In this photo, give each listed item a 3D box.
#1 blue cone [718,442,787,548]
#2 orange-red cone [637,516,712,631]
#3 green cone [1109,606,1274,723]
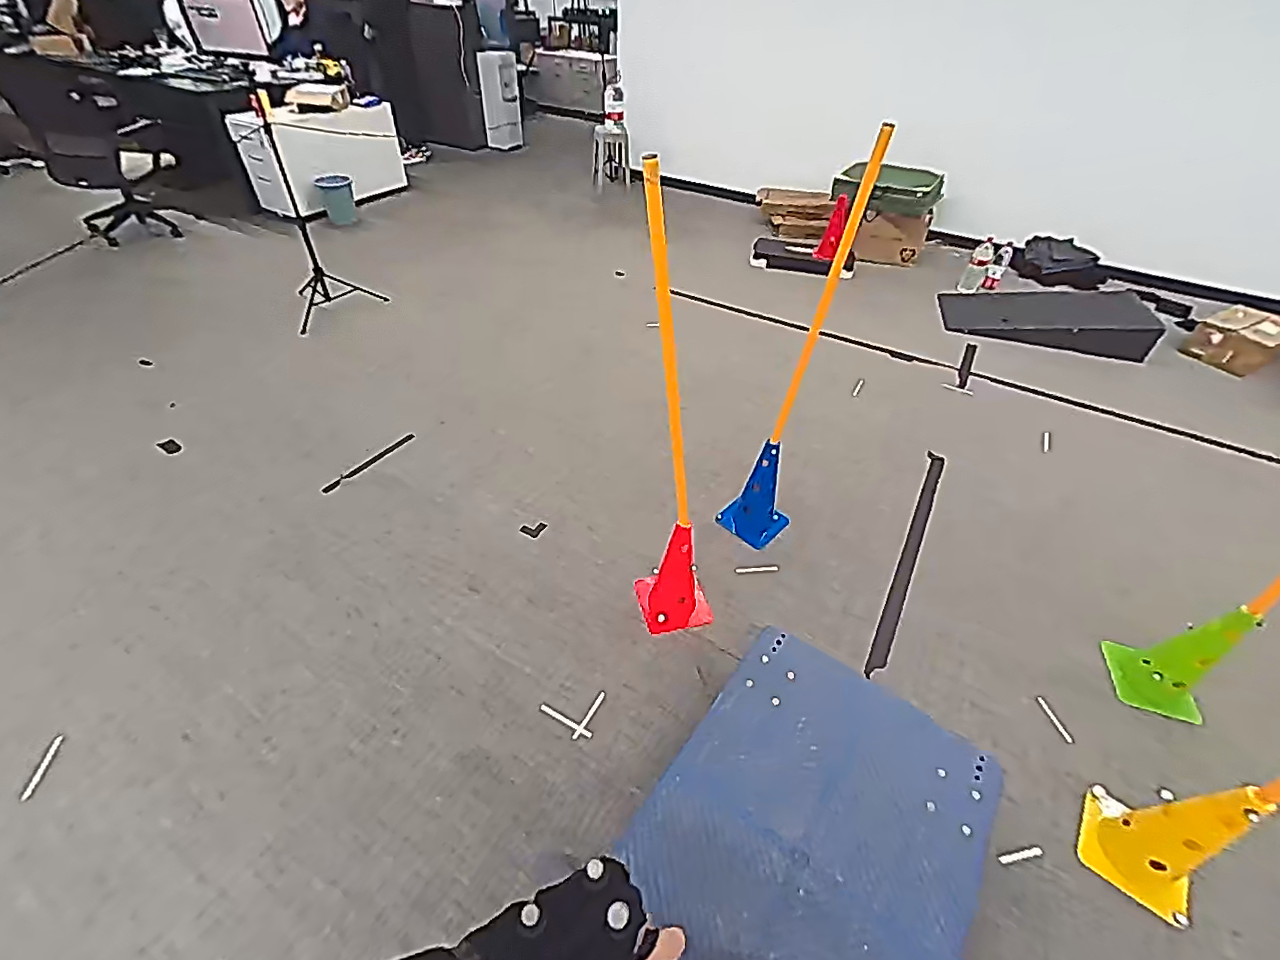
[{"bbox_3d":[0.401,0.025,1.774,0.192,0.380,0.193,-33,54,-32],"label":"blue cone"},{"bbox_3d":[0.111,0.233,1.511,0.199,0.360,0.198,-7,45,-13],"label":"orange-red cone"},{"bbox_3d":[1.438,0.432,1.382,0.200,0.368,0.202,13,45,11],"label":"green cone"}]
